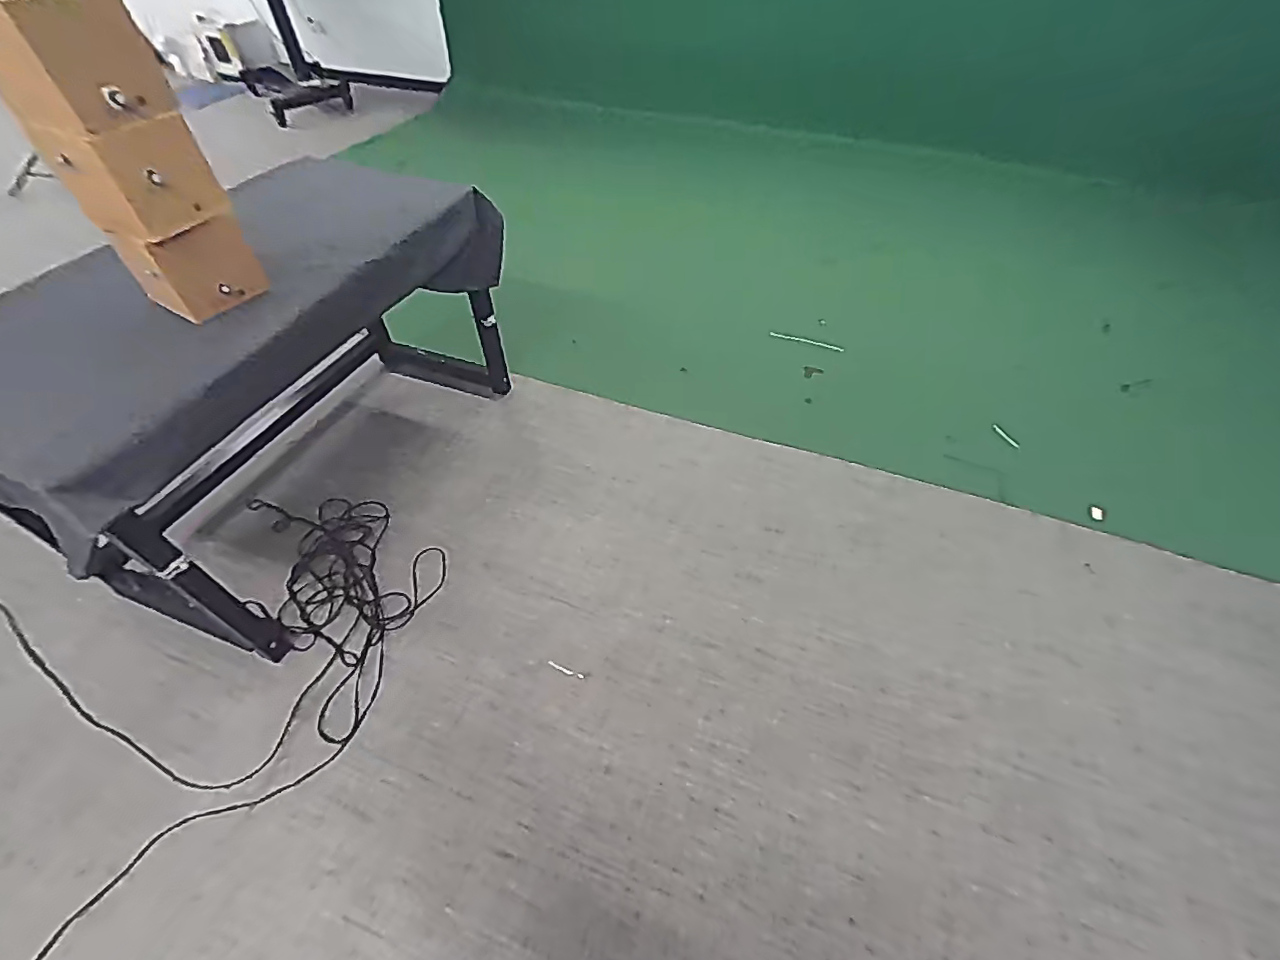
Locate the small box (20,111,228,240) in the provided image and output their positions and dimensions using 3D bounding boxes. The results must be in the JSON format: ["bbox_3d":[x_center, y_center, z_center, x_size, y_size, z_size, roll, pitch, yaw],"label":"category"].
[{"bbox_3d":[-0.902,-0.553,0.967,0.179,0.176,0.168,18,52,15],"label":"small box"}]

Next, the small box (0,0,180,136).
[{"bbox_3d":[-0.900,-0.664,0.849,0.179,0.176,0.168,17,53,13],"label":"small box"}]
